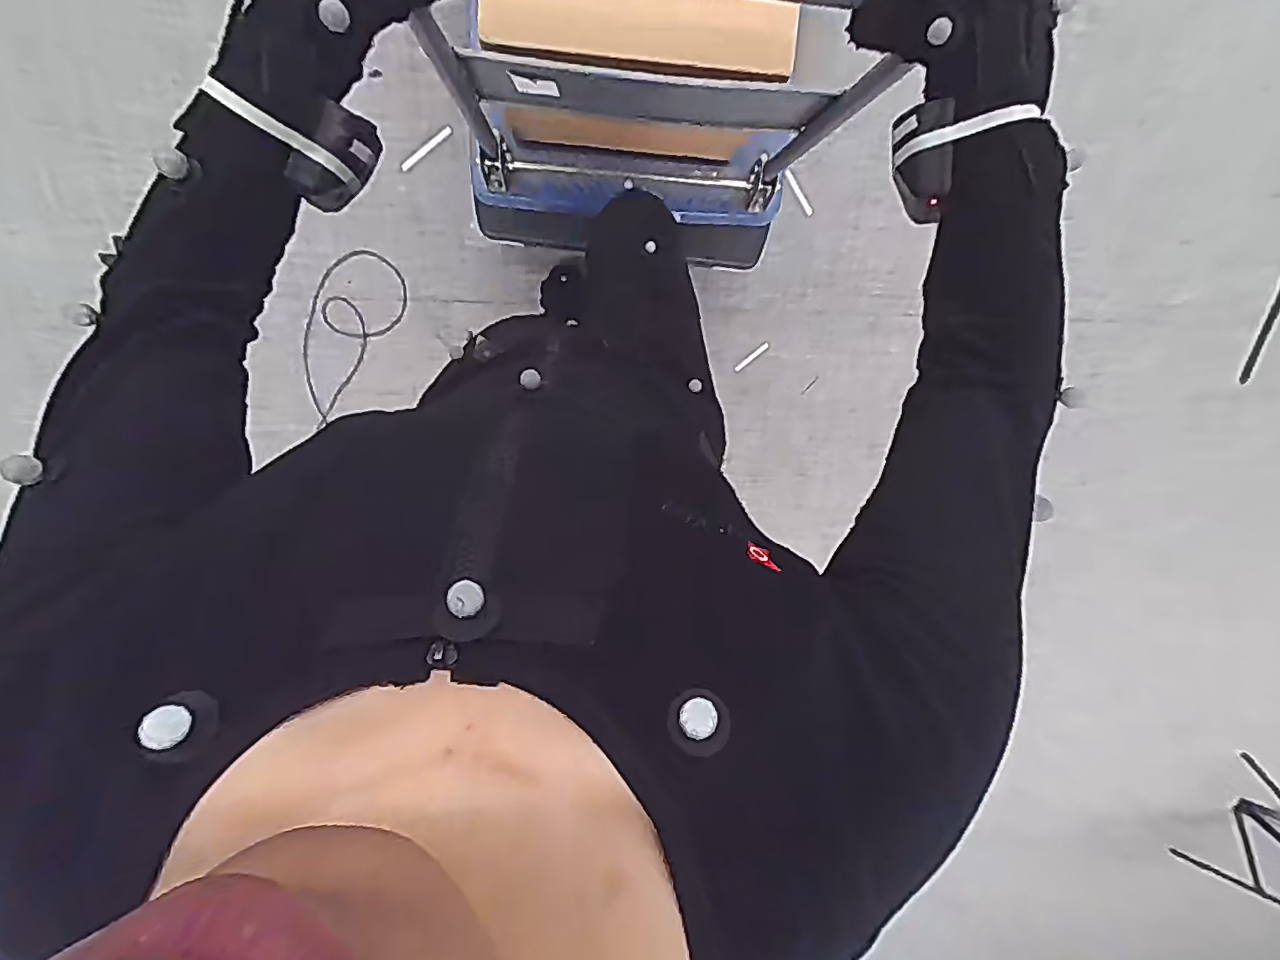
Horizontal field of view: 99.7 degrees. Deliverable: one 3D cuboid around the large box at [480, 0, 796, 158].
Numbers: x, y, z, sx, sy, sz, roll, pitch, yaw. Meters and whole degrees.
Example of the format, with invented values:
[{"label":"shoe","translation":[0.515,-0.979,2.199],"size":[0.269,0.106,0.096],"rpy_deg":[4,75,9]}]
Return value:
[{"label":"large box","translation":[-0.011,-0.709,0.800],"size":[0.408,0.320,0.320],"rpy_deg":[1,103,-6]}]
